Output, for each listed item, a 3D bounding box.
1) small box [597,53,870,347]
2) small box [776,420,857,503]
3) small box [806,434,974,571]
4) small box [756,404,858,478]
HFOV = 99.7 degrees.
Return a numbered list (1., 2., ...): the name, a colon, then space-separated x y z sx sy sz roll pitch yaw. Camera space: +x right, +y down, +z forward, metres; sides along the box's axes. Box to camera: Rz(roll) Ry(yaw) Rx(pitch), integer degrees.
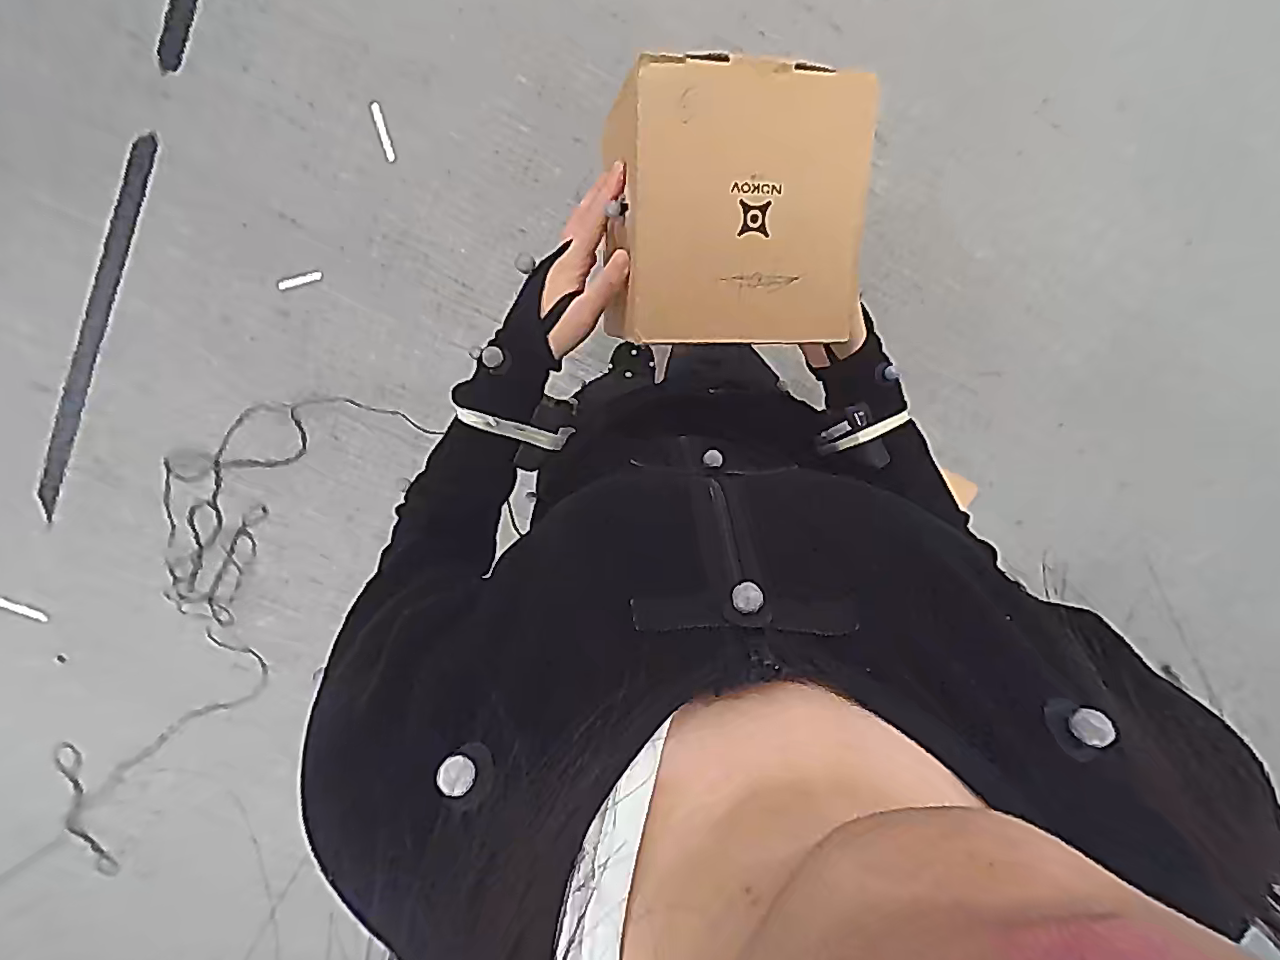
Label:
1. small box: 0.057 -0.203 0.441 0.168 0.176 0.179 -4 109 -11
2. small box: 0.411 -0.012 1.119 0.179 0.176 0.168 27 101 -11
3. small box: 0.428 0.030 0.961 0.179 0.176 0.168 26 101 -12
4. small box: 0.399 -0.064 1.274 0.168 0.176 0.179 28 101 -11
